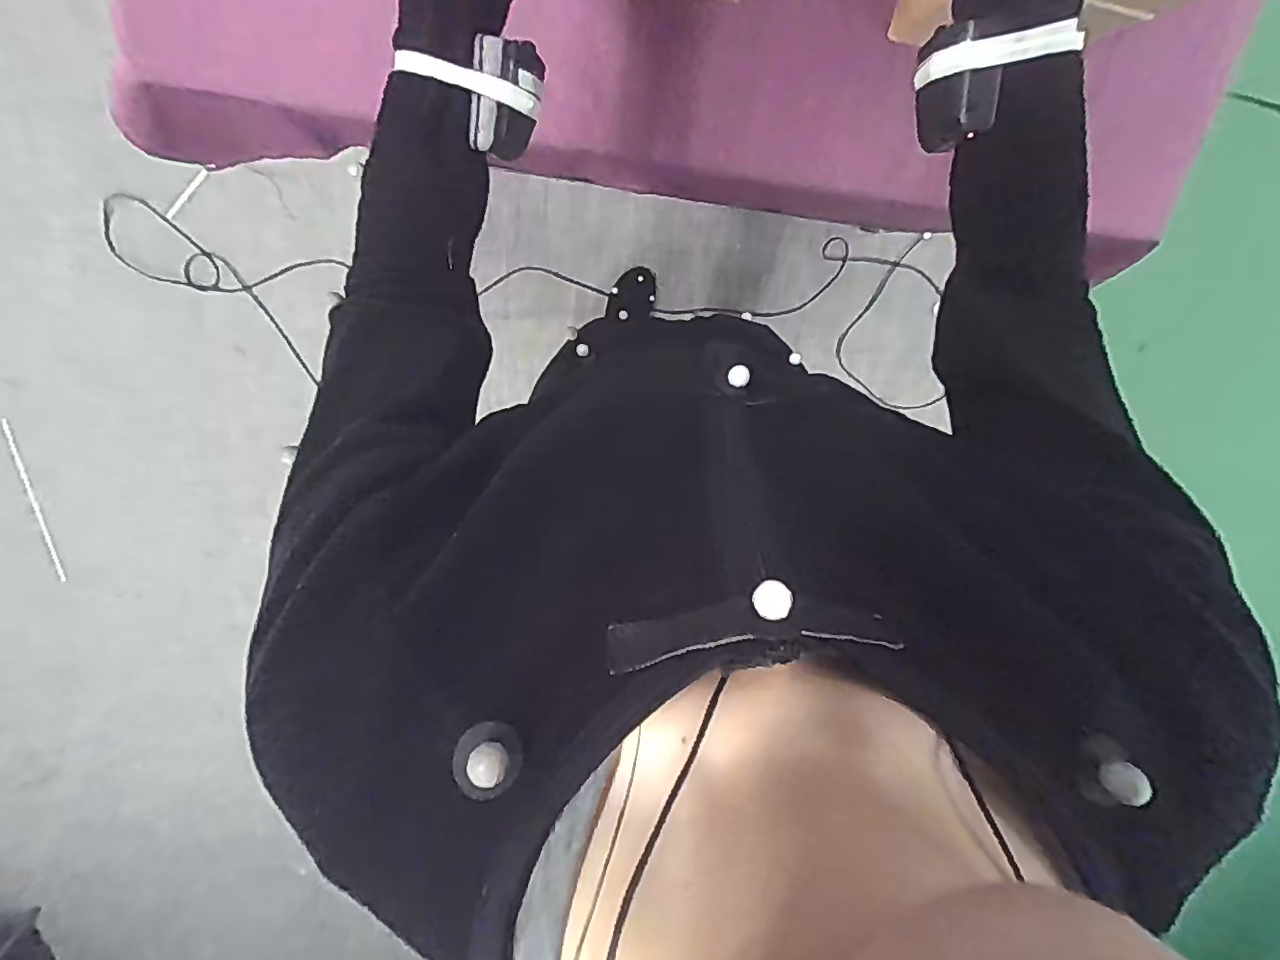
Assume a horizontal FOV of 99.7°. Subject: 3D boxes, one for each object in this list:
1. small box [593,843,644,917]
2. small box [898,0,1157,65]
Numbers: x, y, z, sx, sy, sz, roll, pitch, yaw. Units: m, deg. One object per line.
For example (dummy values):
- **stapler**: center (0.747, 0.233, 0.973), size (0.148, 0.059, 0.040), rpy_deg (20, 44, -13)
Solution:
- **small box**: center (-0.090, 1.606, 2.173), size (0.168, 0.176, 0.179), rpy_deg (12, 111, -11)
- **small box**: center (0.371, -0.522, 0.499), size (0.168, 0.176, 0.179), rpy_deg (7, 112, -8)
